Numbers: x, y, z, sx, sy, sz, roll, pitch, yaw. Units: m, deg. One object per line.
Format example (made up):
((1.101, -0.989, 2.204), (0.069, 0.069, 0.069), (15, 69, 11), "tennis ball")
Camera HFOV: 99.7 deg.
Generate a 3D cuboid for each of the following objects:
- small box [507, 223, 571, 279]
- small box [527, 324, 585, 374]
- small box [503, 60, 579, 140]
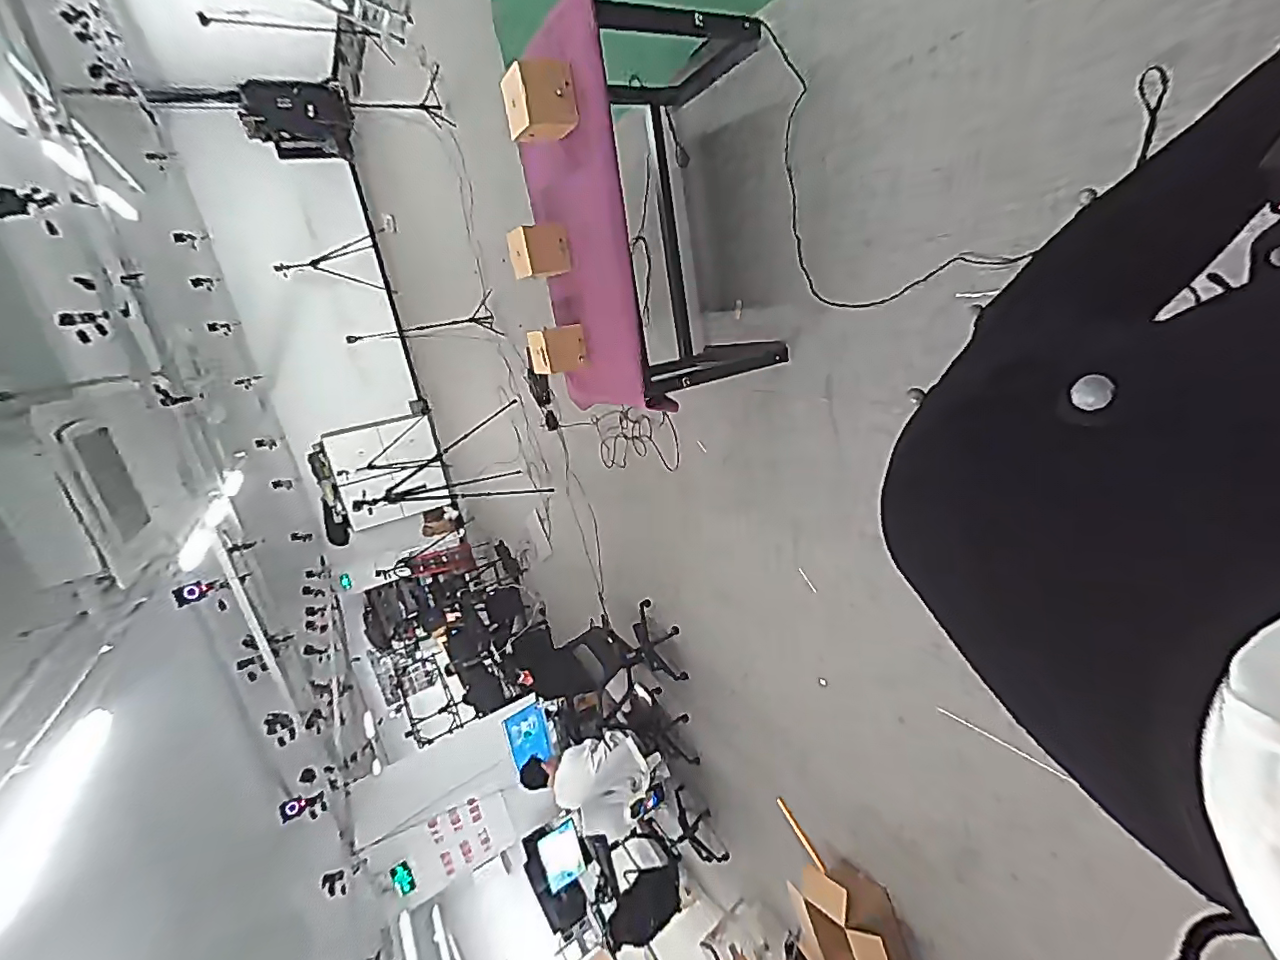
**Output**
((-0.375, -0.855, 2.023), (0.179, 0.176, 0.168), (21, 125, 55), "small box")
((-0.325, -0.519, 2.136), (0.179, 0.176, 0.168), (20, 123, 57), "small box")
((-0.309, -1.179, 1.690), (0.179, 0.176, 0.168), (24, 128, 56), "small box")
